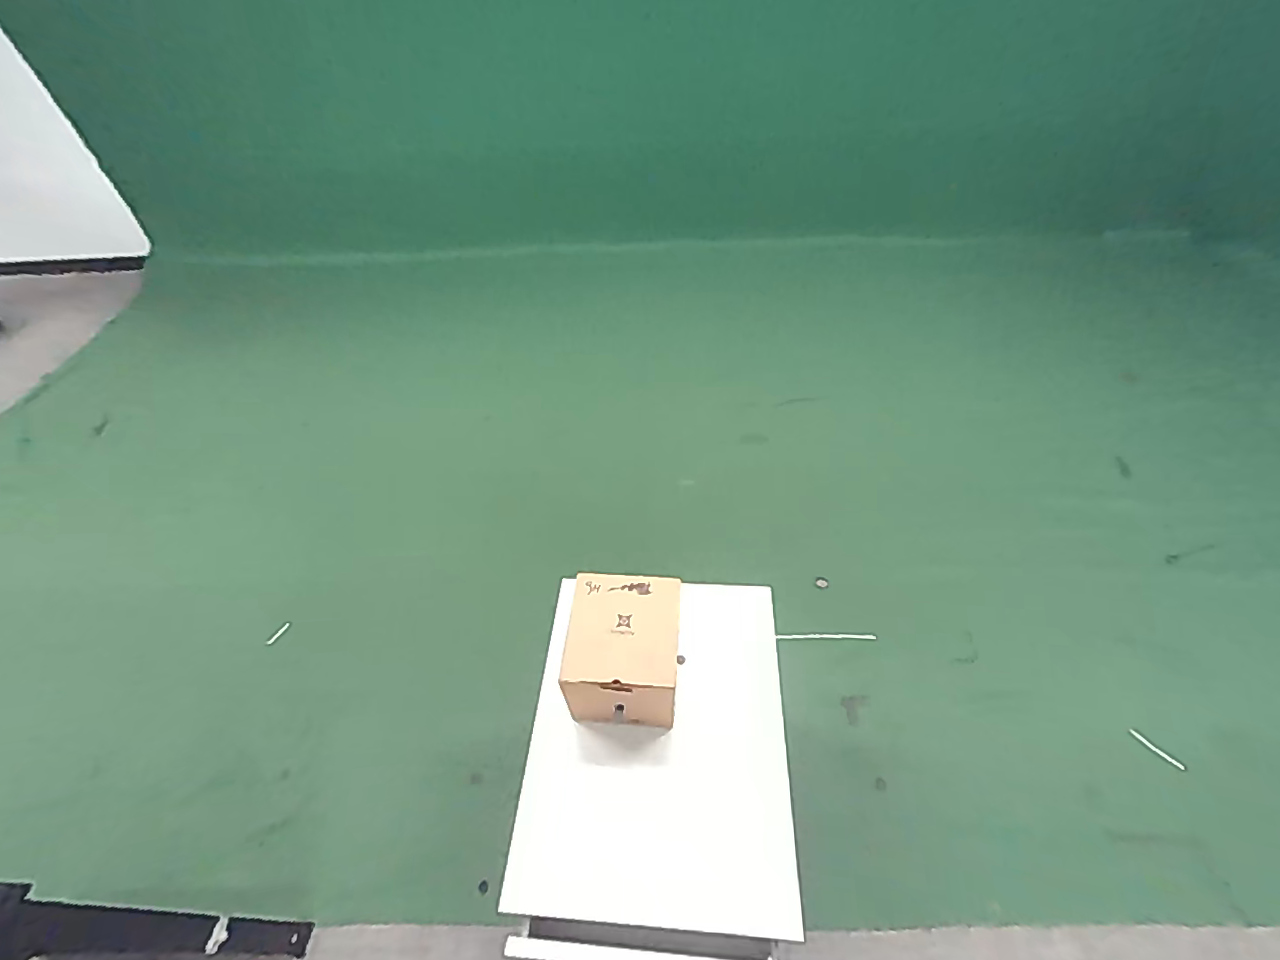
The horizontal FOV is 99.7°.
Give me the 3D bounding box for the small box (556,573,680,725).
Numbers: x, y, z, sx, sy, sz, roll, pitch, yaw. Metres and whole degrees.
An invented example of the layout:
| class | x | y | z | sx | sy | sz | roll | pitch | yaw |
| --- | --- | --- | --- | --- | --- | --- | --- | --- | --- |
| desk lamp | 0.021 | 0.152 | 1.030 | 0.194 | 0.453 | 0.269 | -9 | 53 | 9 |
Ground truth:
| class | x | y | z | sx | sy | sz | roll | pitch | yaw |
| --- | --- | --- | --- | --- | --- | --- | --- | --- | --- |
| small box | -0.024 | 0.266 | 0.843 | 0.168 | 0.176 | 0.179 | 3 | 49 | 5 |
